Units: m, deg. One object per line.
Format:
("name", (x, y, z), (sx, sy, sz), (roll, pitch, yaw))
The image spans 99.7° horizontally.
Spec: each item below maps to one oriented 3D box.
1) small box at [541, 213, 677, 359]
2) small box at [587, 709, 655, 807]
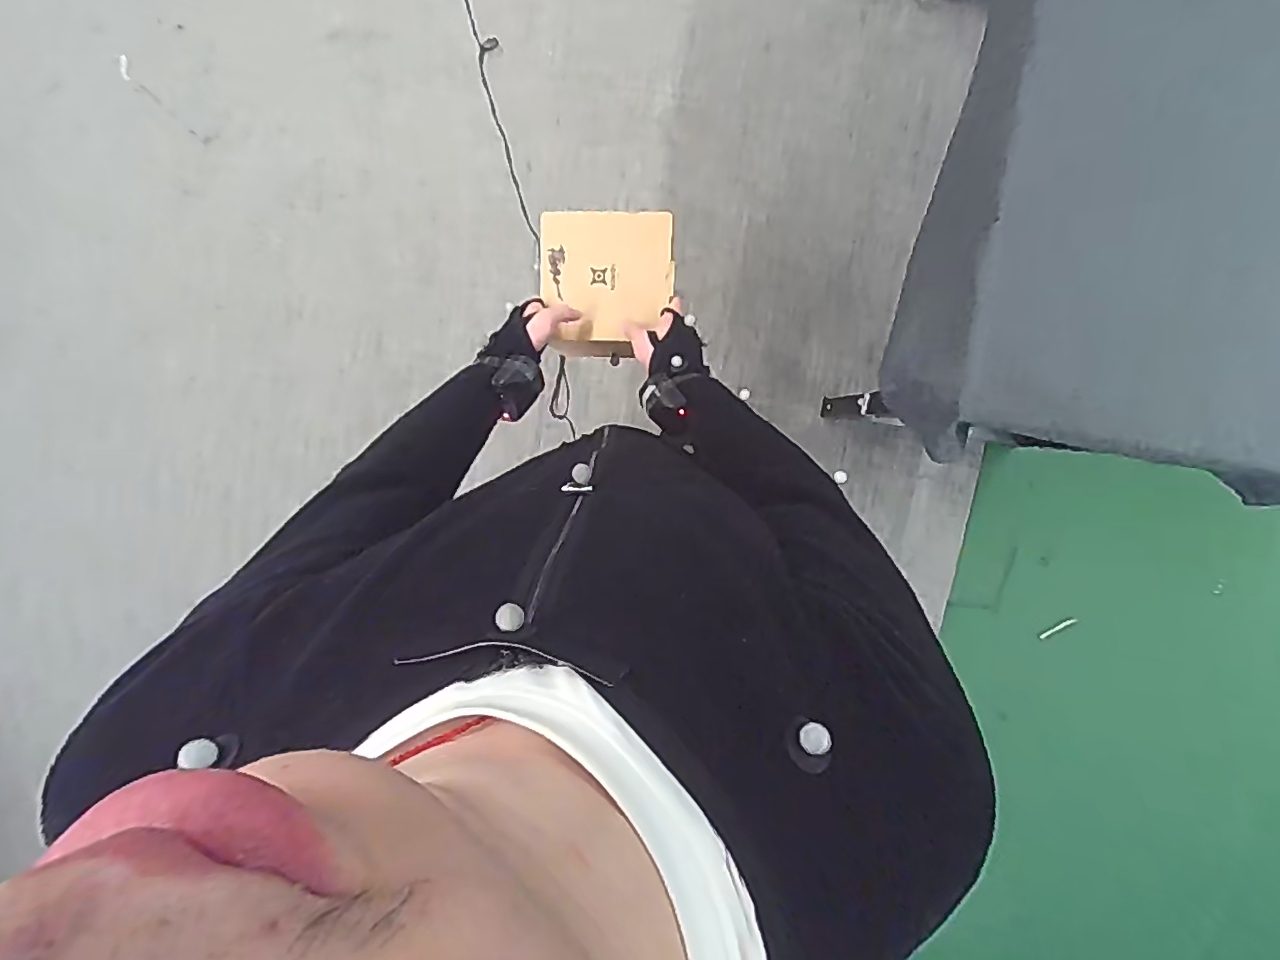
("small box", (-0.039, -0.271, 0.787), (0.179, 0.176, 0.168), (2, 96, 3))
("small box", (-0.054, 0.806, 1.577), (0.168, 0.176, 0.179), (12, 97, -3))
